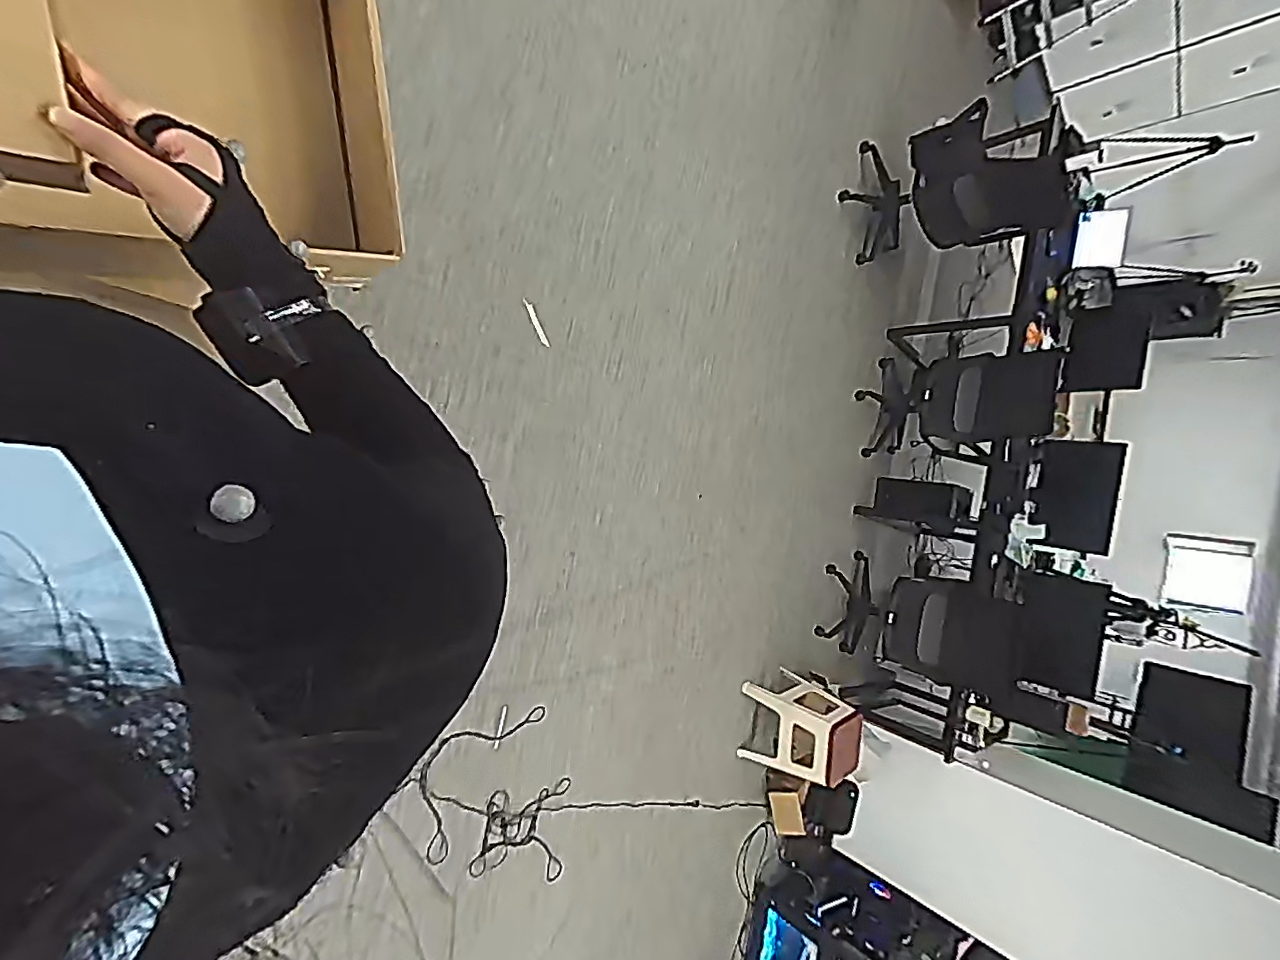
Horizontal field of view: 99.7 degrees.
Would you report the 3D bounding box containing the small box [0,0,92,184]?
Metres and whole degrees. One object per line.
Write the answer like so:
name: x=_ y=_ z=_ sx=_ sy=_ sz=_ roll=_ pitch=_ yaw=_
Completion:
small box: x=-0.465 y=-0.291 z=0.325 sx=0.179 sy=0.176 sz=0.168 roll=-9 pitch=112 yaw=-41
